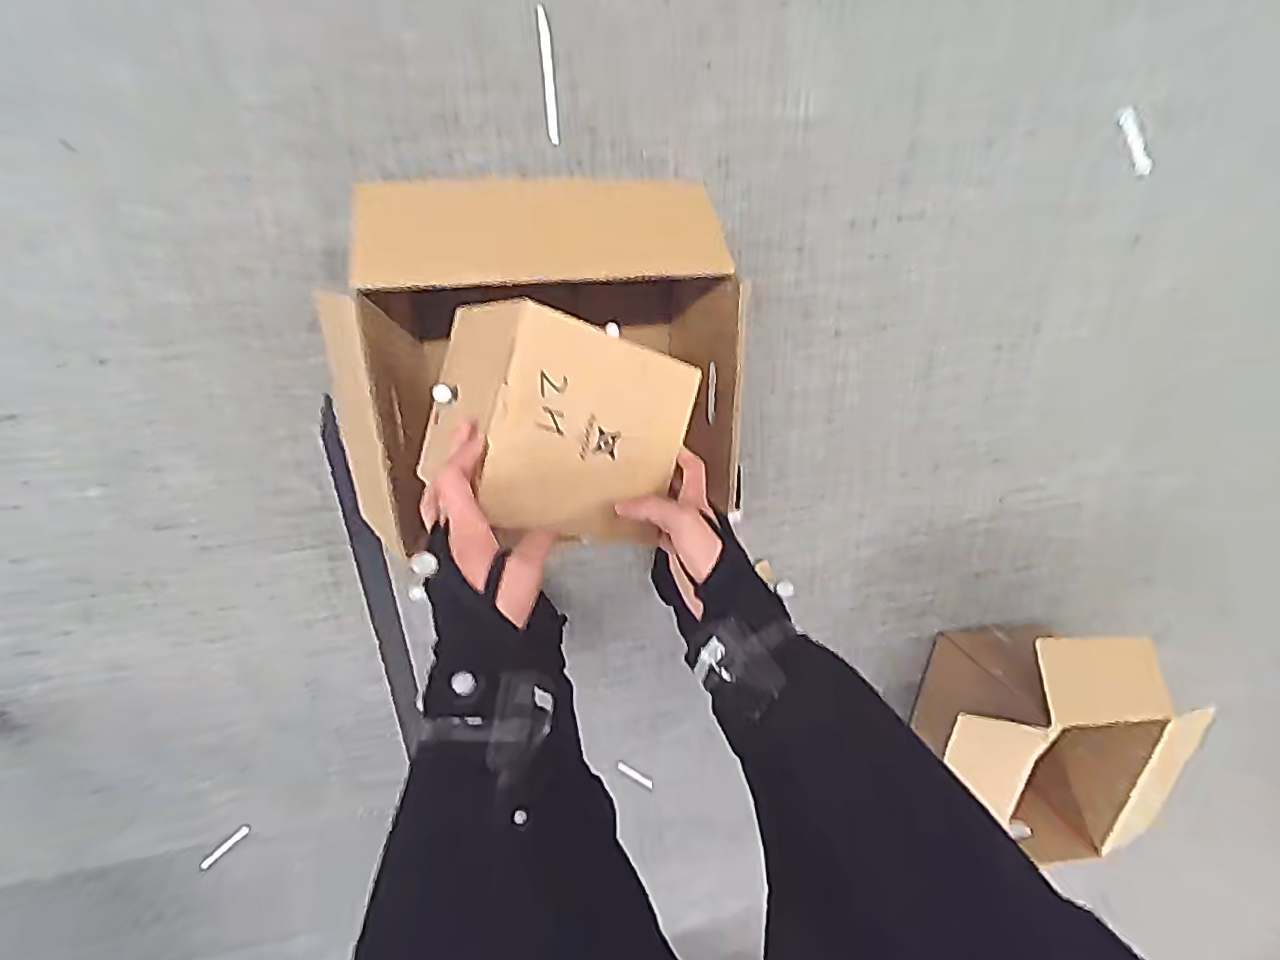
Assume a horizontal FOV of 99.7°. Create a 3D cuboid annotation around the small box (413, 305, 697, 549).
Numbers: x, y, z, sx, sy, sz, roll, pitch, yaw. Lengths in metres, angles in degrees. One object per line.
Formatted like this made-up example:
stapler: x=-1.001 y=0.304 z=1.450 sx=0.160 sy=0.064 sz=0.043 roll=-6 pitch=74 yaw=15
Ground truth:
small box: x=-0.083 y=-0.047 z=0.490 sx=0.179 sy=0.176 sz=0.168 roll=12 pitch=95 yaw=-36
